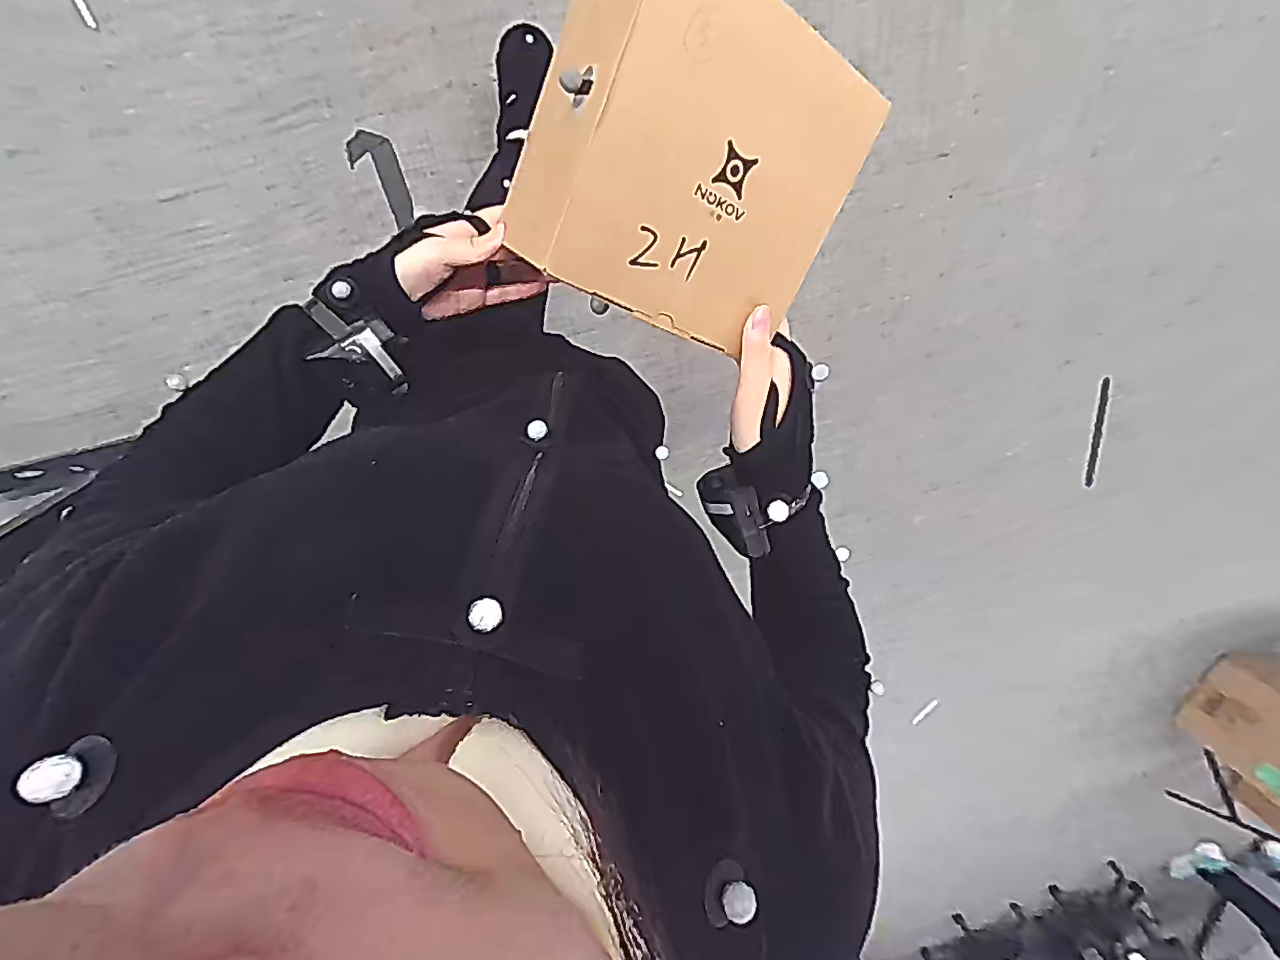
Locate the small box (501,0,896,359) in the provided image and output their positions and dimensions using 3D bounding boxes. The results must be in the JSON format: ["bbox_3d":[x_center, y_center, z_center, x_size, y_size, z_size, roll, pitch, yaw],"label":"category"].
[{"bbox_3d":[0.019,-0.210,0.363,0.168,0.176,0.179,15,112,-31],"label":"small box"}]
